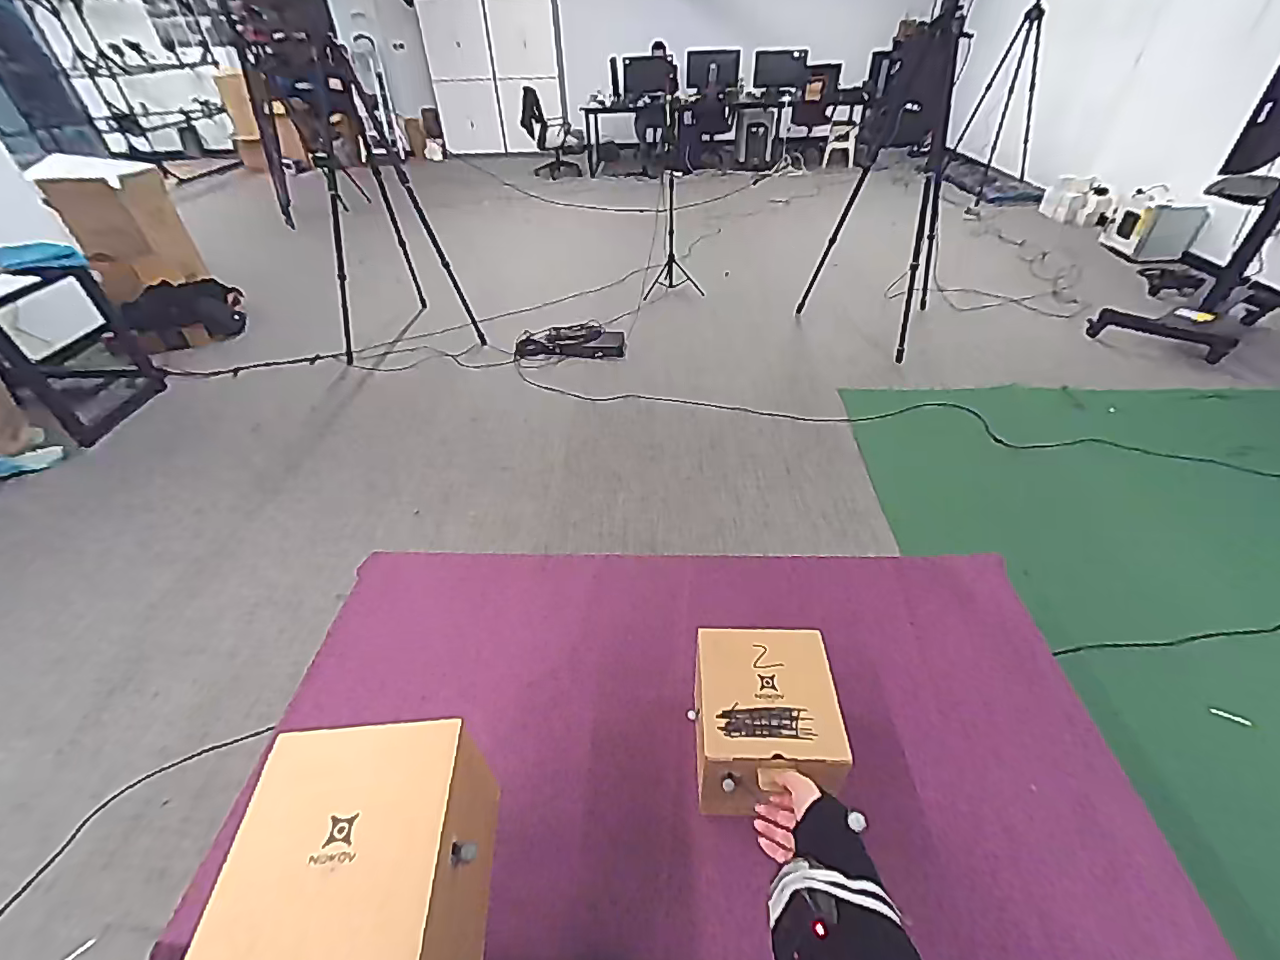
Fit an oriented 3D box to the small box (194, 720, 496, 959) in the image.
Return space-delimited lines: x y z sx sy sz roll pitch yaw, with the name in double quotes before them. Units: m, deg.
"small box" -0.235 0.345 0.492 0.168 0.176 0.179 -4 43 -1
